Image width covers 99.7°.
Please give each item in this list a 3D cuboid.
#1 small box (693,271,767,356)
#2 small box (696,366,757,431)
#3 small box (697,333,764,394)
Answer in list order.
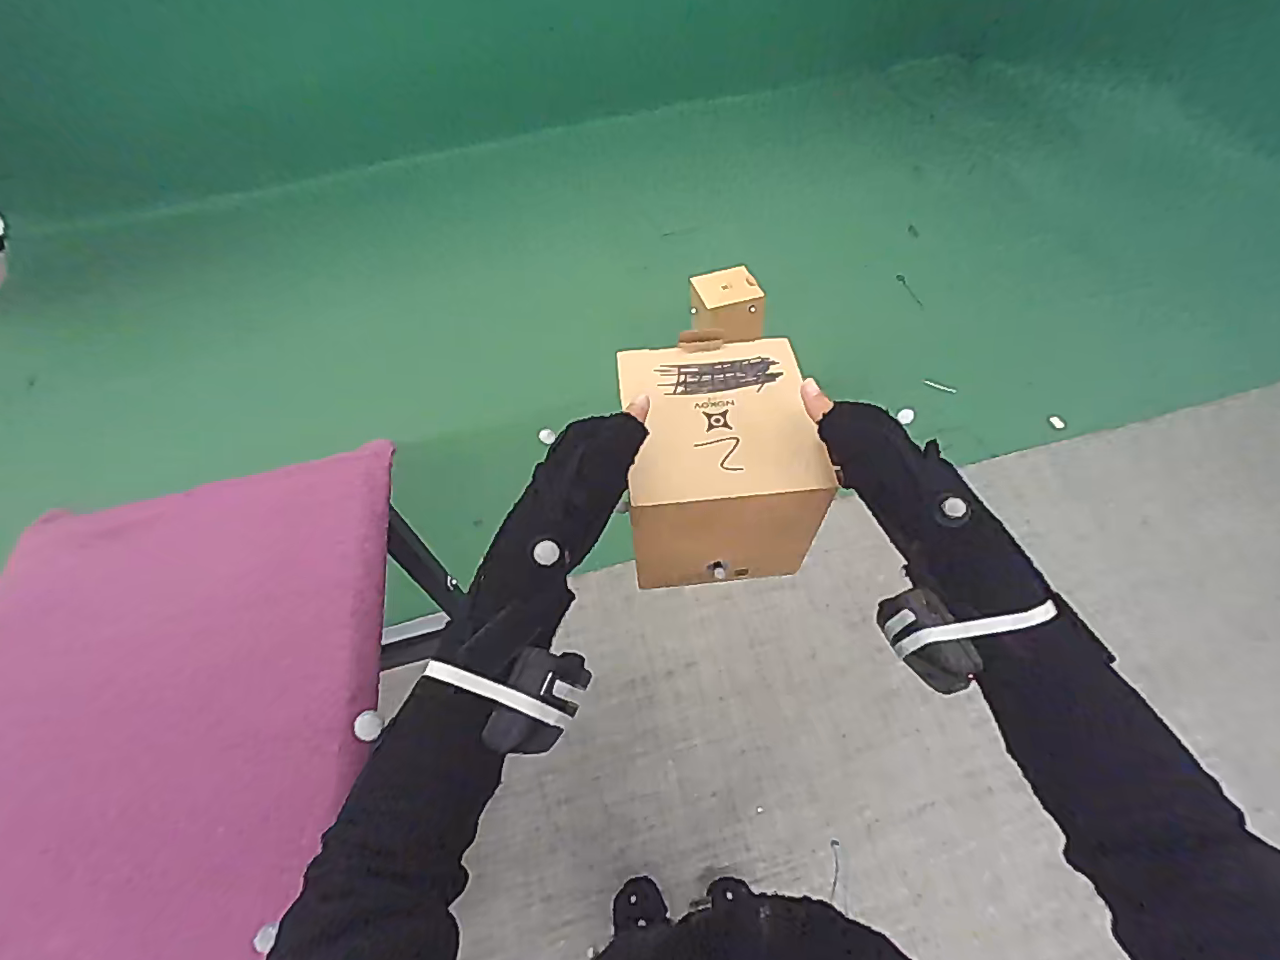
[{"bbox_3d":[0.270,-0.503,1.649,0.179,0.176,0.168,-15,53,-6],"label":"small box"},{"bbox_3d":[0.299,-0.303,1.906,0.168,0.176,0.179,-15,53,-4],"label":"small box"},{"bbox_3d":[0.289,-0.407,1.776,0.179,0.176,0.168,-12,51,-4],"label":"small box"}]
